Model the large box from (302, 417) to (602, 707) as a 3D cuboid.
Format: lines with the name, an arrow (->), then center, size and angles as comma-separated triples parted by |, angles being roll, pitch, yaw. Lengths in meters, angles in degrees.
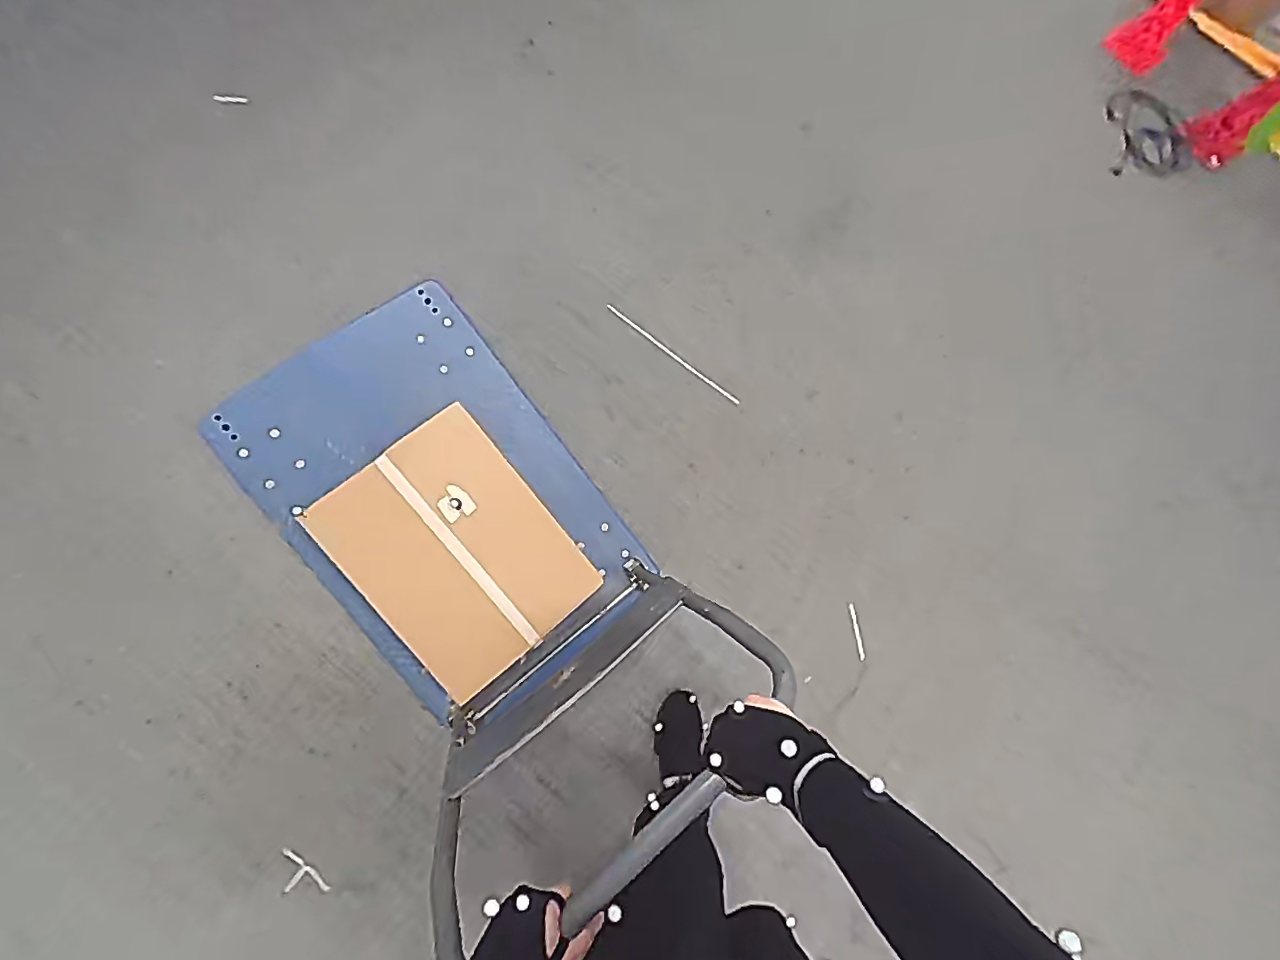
large box -> -0.330, 0.144, 1.052 | 0.320, 0.320, 0.408 | -41, 95, -12
